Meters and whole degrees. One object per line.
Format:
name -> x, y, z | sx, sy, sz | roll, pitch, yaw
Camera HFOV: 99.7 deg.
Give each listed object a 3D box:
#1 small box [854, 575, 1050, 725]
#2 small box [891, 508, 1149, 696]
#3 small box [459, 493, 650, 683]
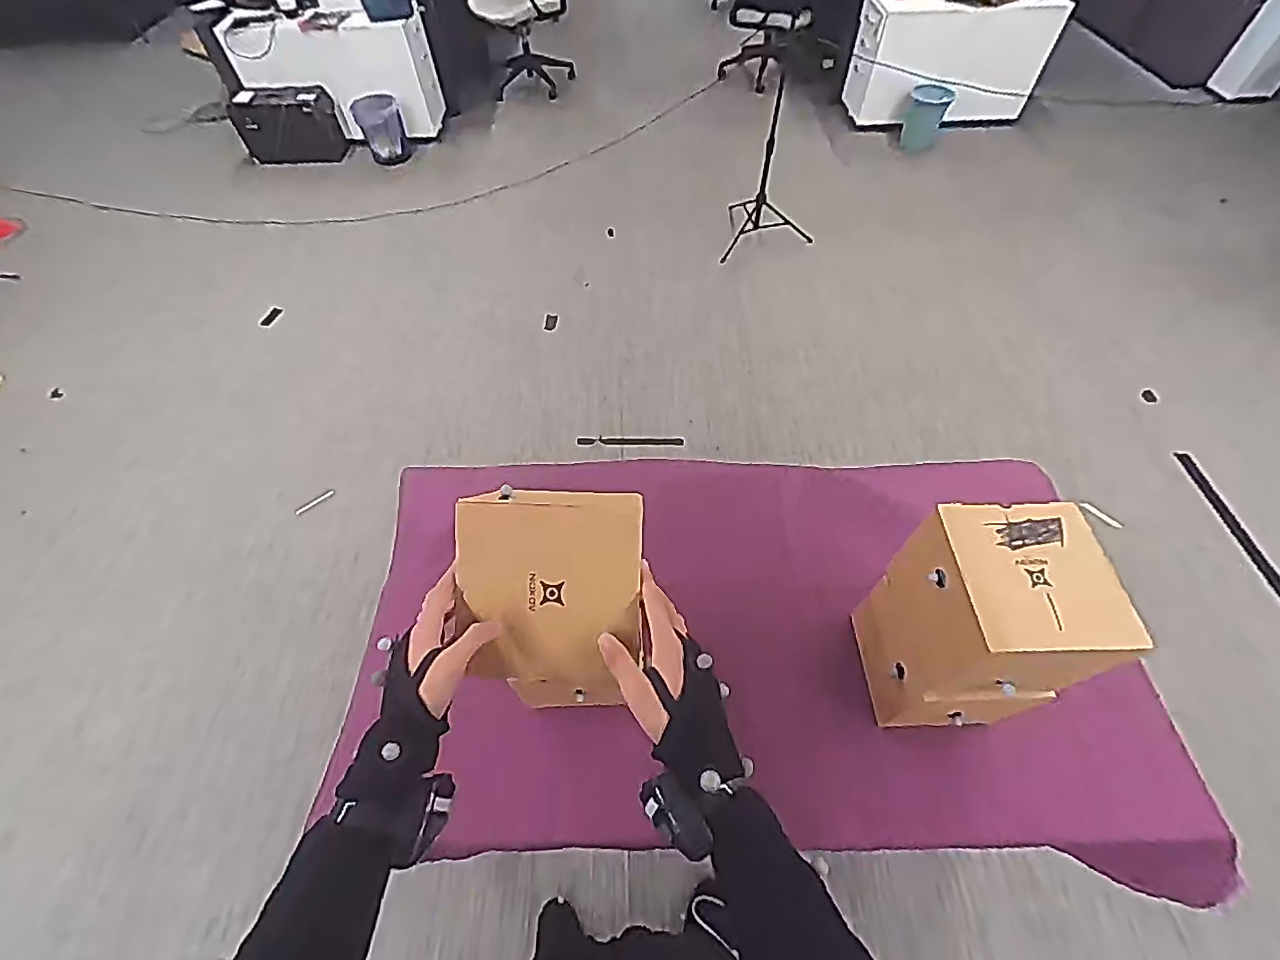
small box -> 0.431, 0.250, 0.784 | 0.168, 0.176, 0.179 | -1, 56, 0
small box -> 0.430, 0.150, 0.654 | 0.168, 0.176, 0.179 | -1, 56, 1
small box -> -0.080, 0.103, 0.584 | 0.179, 0.176, 0.168 | 2, 92, 1
